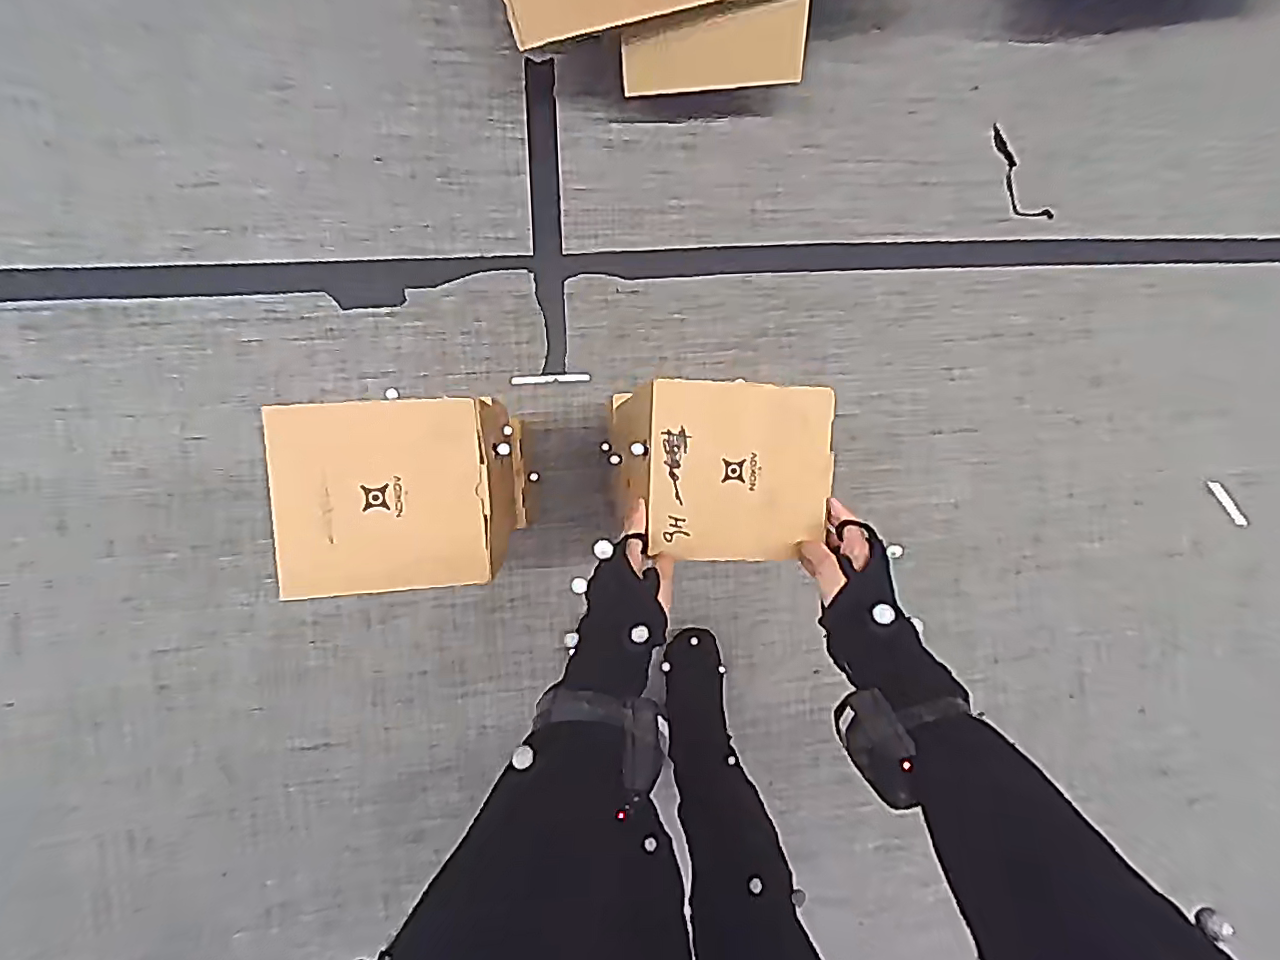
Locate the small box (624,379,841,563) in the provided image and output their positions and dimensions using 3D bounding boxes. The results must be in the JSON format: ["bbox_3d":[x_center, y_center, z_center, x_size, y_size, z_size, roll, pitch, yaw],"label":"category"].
[{"bbox_3d":[0.085,-0.011,0.573,0.179,0.176,0.168,2,93,-9],"label":"small box"}]

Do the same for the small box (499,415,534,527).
[{"bbox_3d":[-0.266,-0.015,0.860,0.179,0.176,0.168,-2,94,-8],"label":"small box"}]

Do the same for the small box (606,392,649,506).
[{"bbox_3d":[0.034,-0.053,0.896,0.168,0.176,0.179,-4,94,-8],"label":"small box"}]

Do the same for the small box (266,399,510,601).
[{"bbox_3d":[-0.226,0.011,0.536,0.179,0.176,0.168,-4,93,-7],"label":"small box"}]

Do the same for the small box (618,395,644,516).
[{"bbox_3d":[0.062,-0.025,0.735,0.179,0.176,0.168,-1,94,-8],"label":"small box"}]
